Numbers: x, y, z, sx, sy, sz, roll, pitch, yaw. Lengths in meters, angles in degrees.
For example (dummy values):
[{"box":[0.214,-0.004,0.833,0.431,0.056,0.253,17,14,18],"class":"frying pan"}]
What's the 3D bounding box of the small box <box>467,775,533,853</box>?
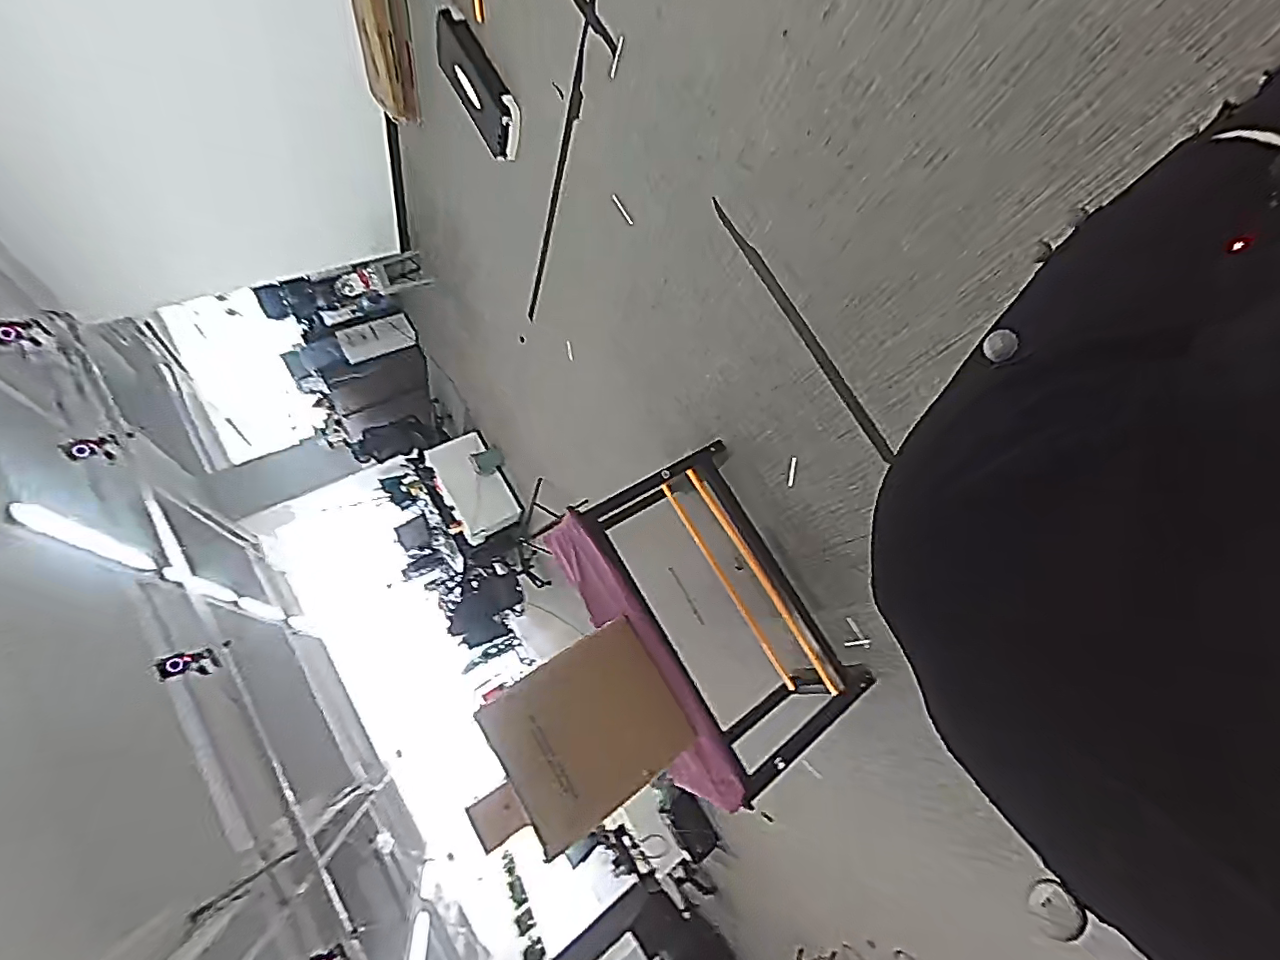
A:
[{"box":[-0.505,1.197,1.936,0.179,0.176,0.168,59,154,10],"class":"small box"}]
